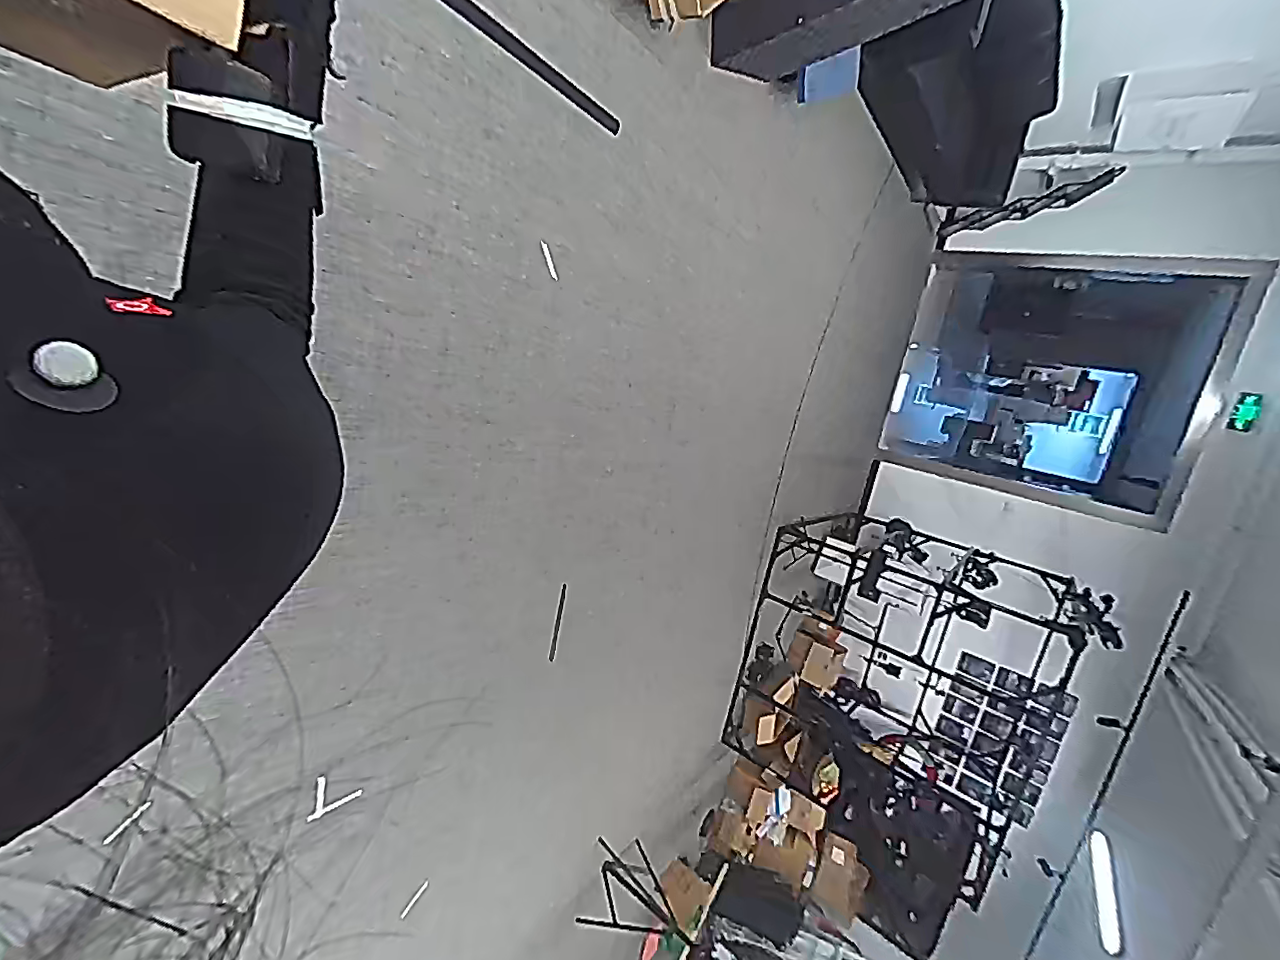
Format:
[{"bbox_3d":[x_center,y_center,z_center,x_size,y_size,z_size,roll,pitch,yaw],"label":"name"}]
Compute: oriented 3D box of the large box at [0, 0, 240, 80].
[{"bbox_3d":[-0.451,-0.454,0.225,0.408,0.320,0.320,-3,111,-56],"label":"large box"}]
